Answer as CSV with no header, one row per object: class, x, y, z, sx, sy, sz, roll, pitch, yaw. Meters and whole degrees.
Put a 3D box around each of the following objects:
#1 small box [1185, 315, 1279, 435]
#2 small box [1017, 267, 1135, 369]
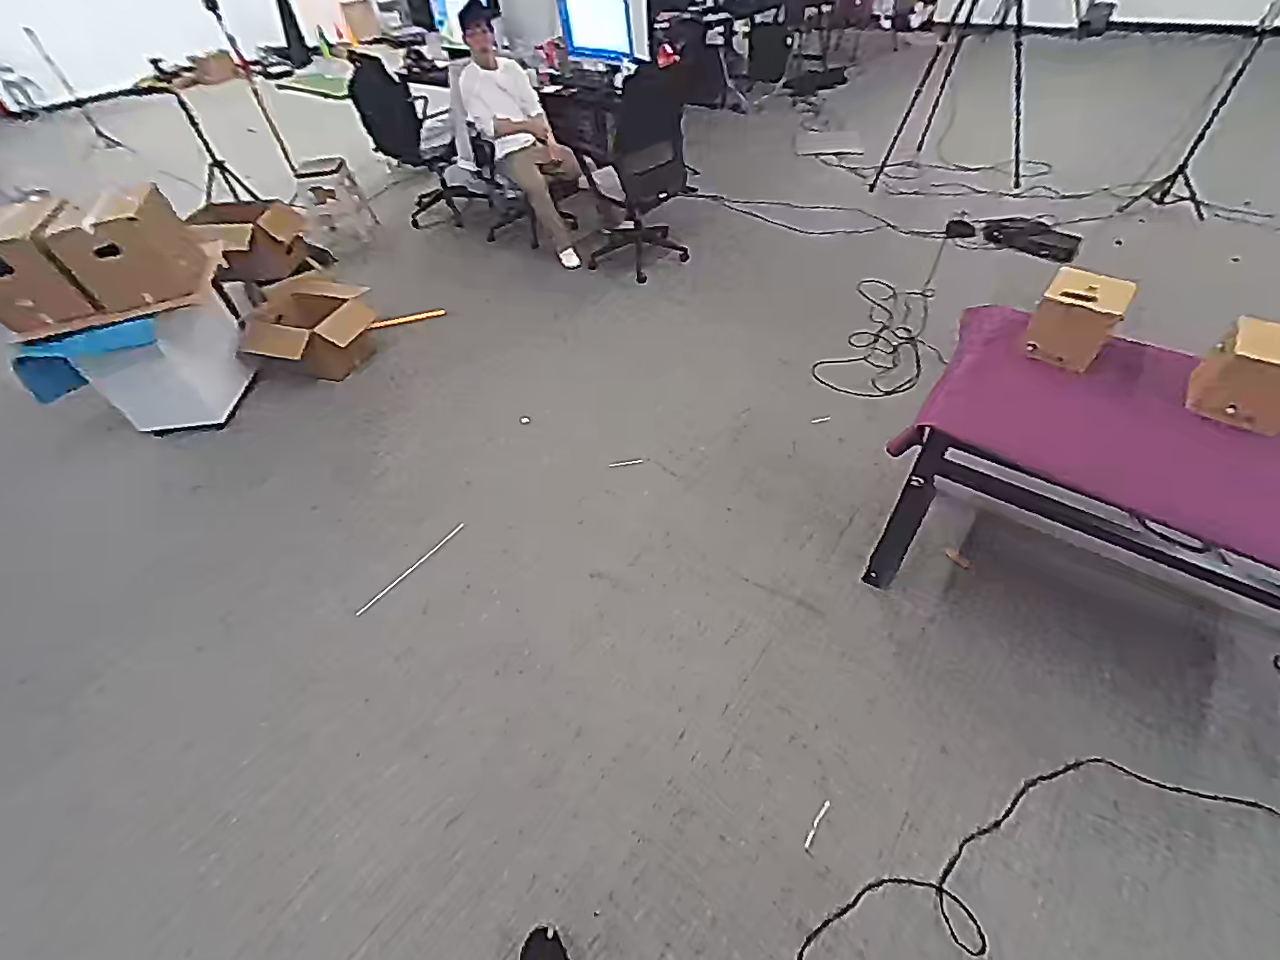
small box,1.371,-0.234,1.202,0.168,0.176,0.179,28,56,28
small box,1.104,-0.412,1.382,0.168,0.176,0.179,31,58,28
